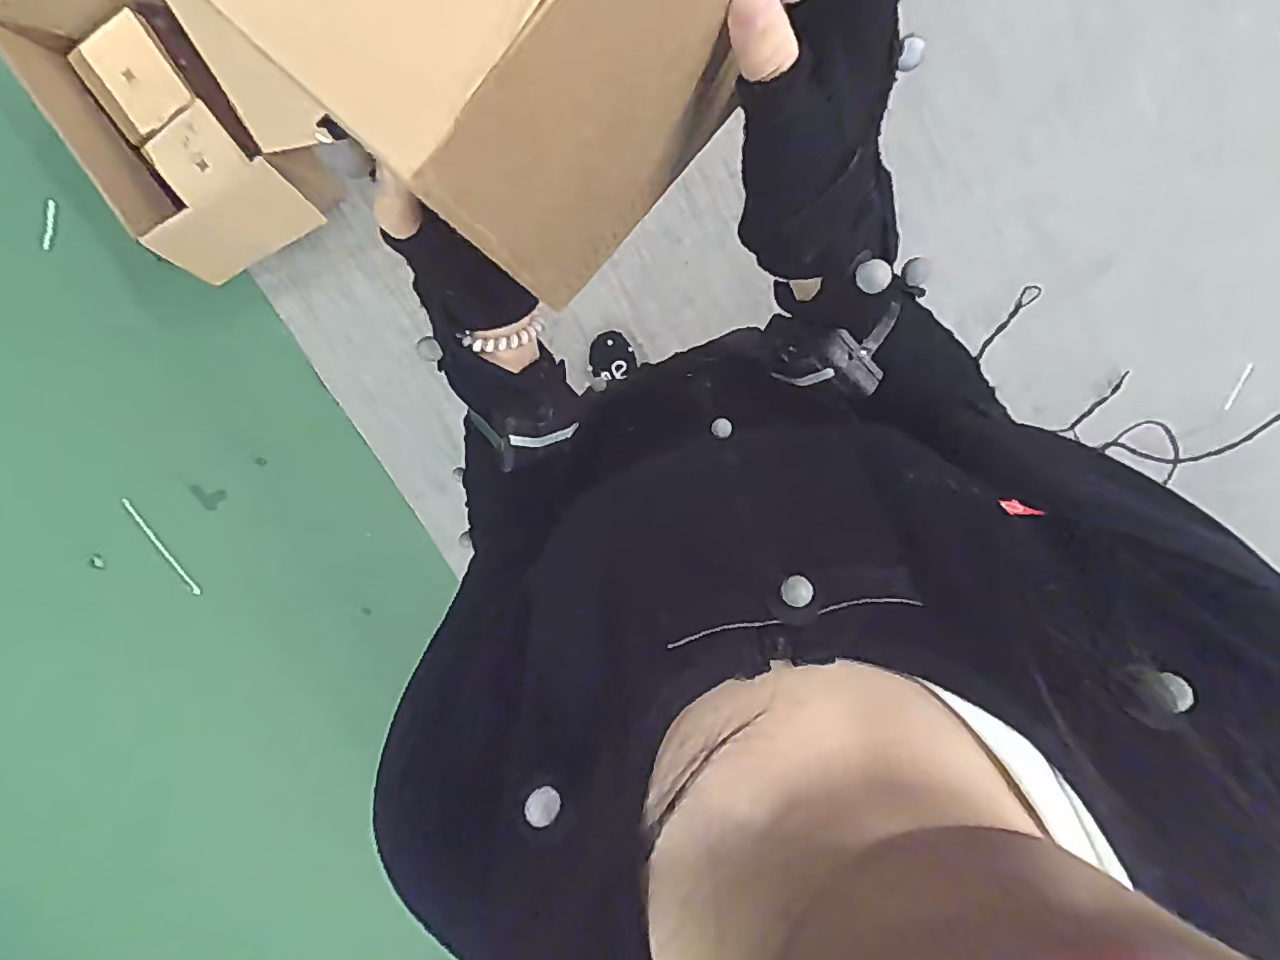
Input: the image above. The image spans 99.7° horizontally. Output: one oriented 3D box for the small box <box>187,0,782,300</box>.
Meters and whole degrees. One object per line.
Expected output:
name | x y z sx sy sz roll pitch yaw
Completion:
small box | -0.052 -0.193 0.187 0.168 0.176 0.179 42 98 -3
